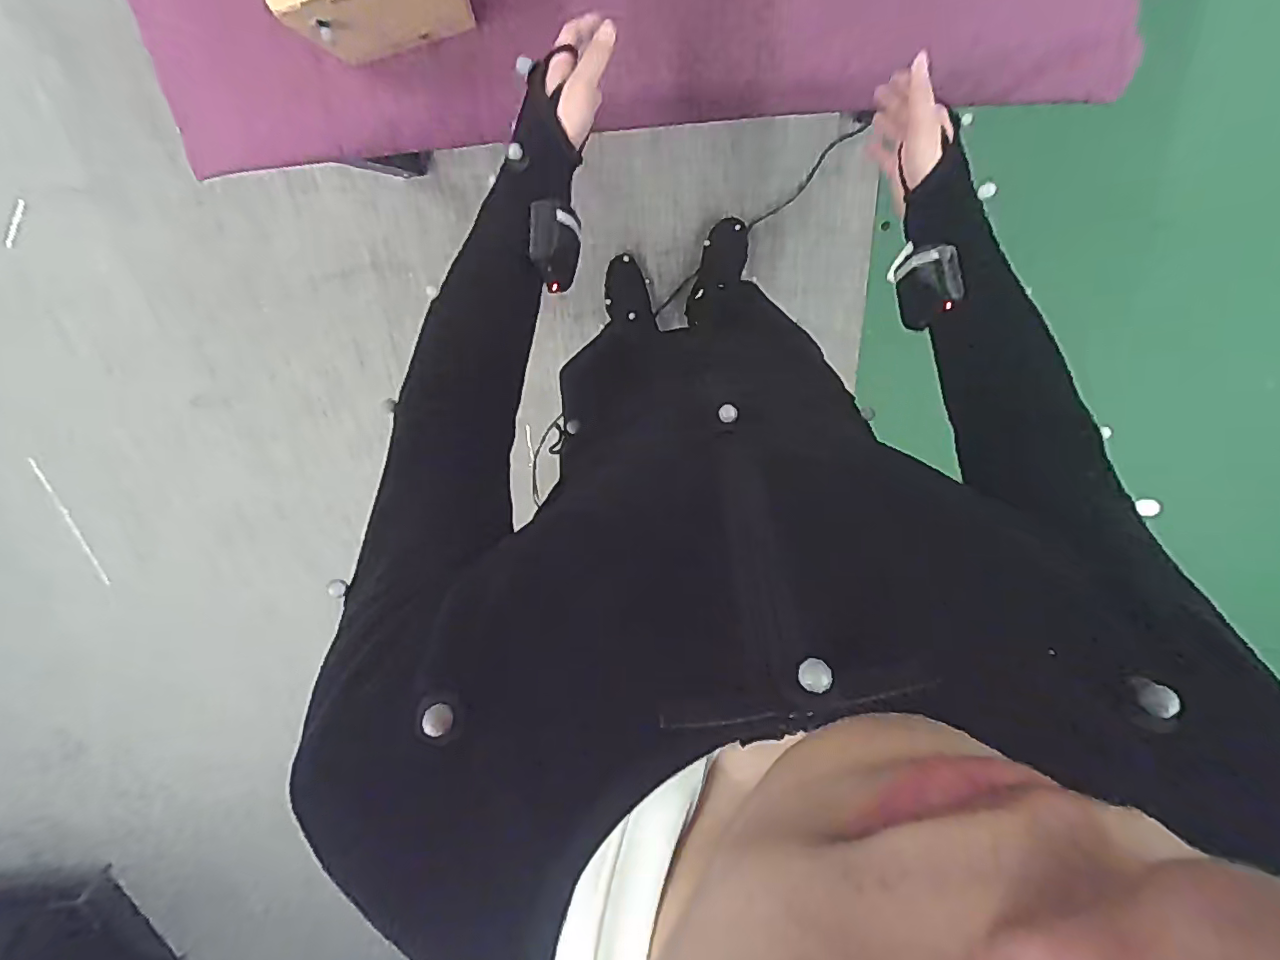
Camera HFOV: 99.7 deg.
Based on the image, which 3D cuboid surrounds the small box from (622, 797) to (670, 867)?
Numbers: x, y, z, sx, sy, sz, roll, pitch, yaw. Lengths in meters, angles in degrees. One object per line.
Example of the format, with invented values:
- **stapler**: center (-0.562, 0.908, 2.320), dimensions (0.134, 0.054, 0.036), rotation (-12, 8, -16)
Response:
- **small box**: center (0.023, 1.345, 2.074), dimensions (0.179, 0.176, 0.168), rotation (-2, 115, -1)
